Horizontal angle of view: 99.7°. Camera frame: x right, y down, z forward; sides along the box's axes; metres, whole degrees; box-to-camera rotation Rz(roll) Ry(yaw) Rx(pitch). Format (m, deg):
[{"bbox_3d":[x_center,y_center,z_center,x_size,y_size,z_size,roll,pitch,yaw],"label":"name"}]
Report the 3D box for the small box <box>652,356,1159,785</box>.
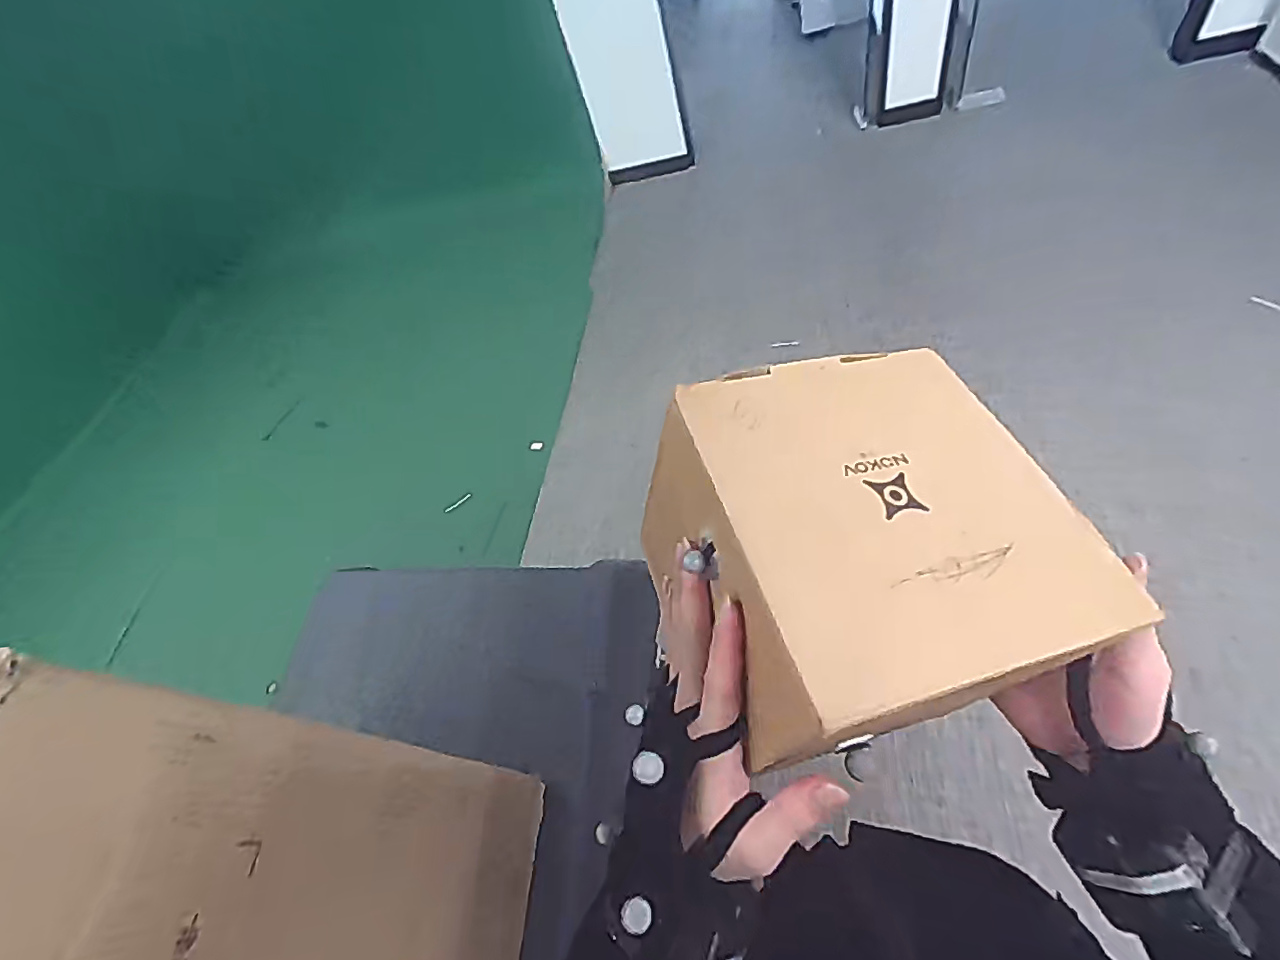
[{"bbox_3d":[0.111,0.055,0.319,0.168,0.176,0.179,-10,56,-13],"label":"small box"}]
